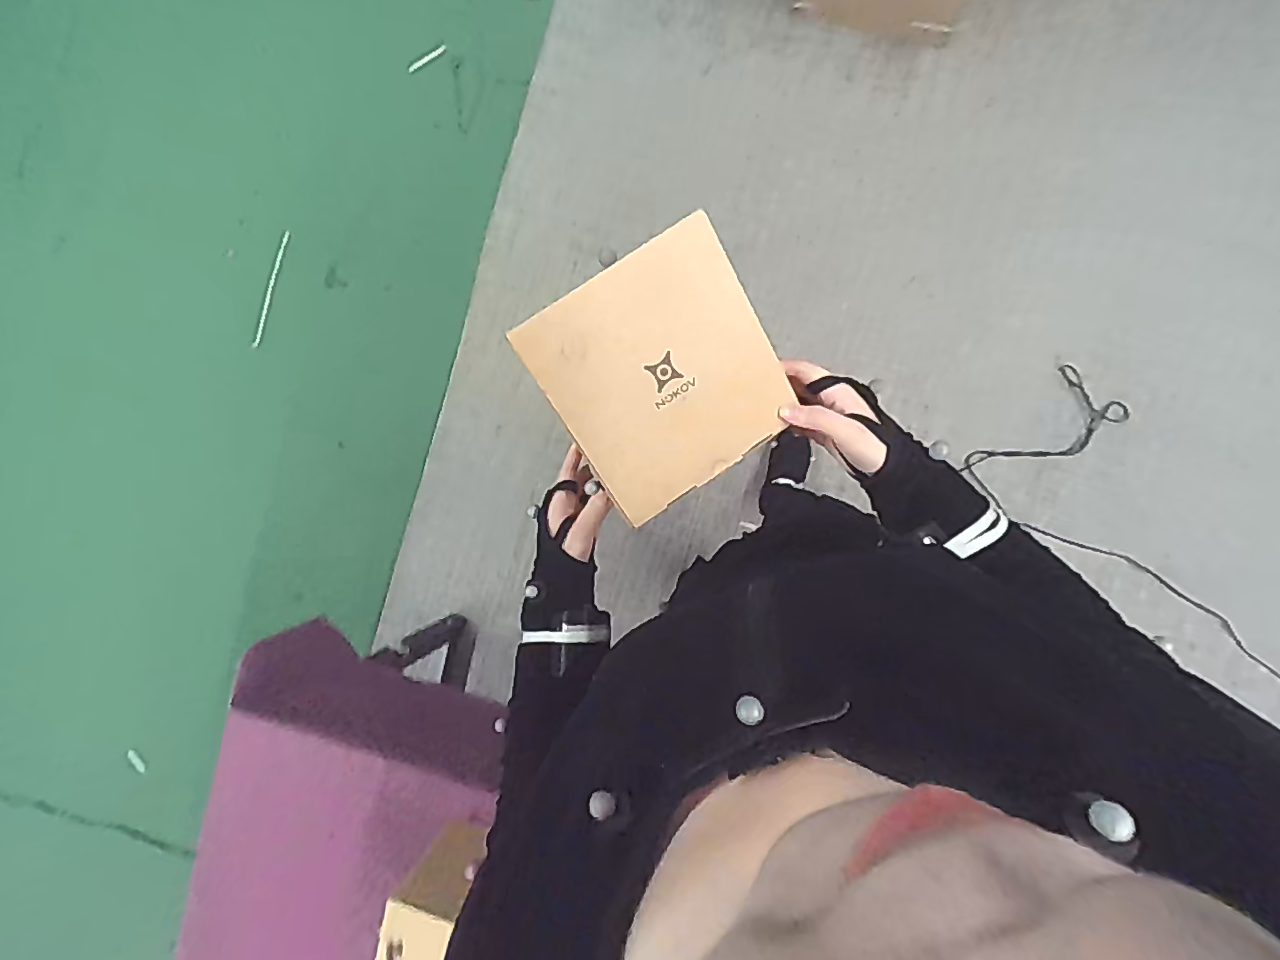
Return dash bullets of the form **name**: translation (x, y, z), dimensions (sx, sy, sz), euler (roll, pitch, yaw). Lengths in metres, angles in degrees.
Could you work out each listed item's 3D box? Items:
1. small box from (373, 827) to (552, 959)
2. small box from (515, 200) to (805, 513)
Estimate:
- **small box**: translation (-0.233, 0.611, 0.729), dimensions (0.179, 0.176, 0.168), euler (12, 91, 8)
- **small box**: translation (0.004, -0.103, 0.473), dimensions (0.168, 0.176, 0.179), euler (-33, 110, -3)
